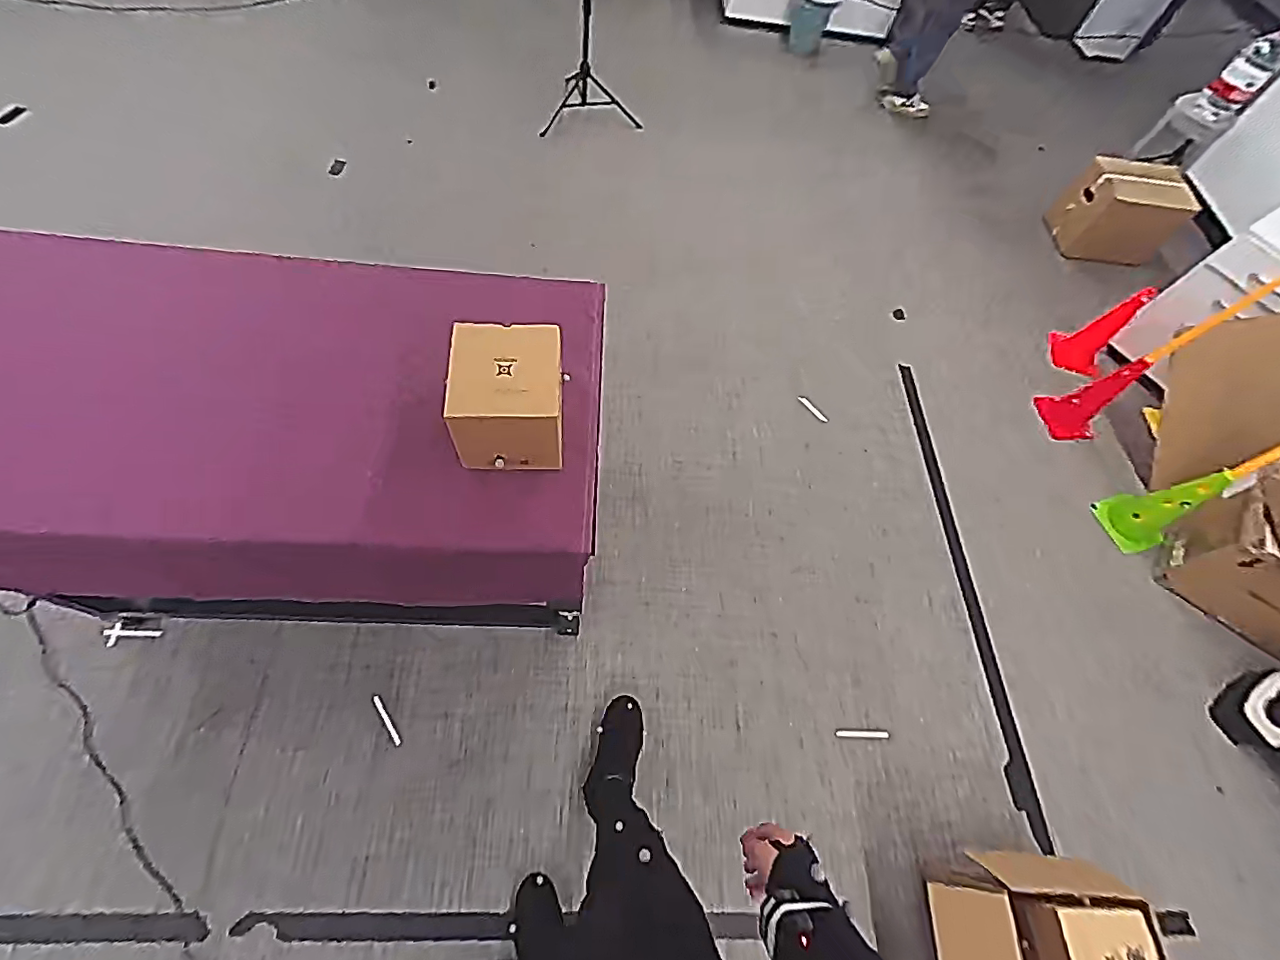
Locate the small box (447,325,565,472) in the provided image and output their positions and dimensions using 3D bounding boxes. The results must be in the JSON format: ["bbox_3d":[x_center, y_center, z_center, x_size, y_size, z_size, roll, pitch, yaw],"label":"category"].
[{"bbox_3d":[-0.210,-0.130,0.896,0.168,0.176,0.179,0,62,-6],"label":"small box"}]
